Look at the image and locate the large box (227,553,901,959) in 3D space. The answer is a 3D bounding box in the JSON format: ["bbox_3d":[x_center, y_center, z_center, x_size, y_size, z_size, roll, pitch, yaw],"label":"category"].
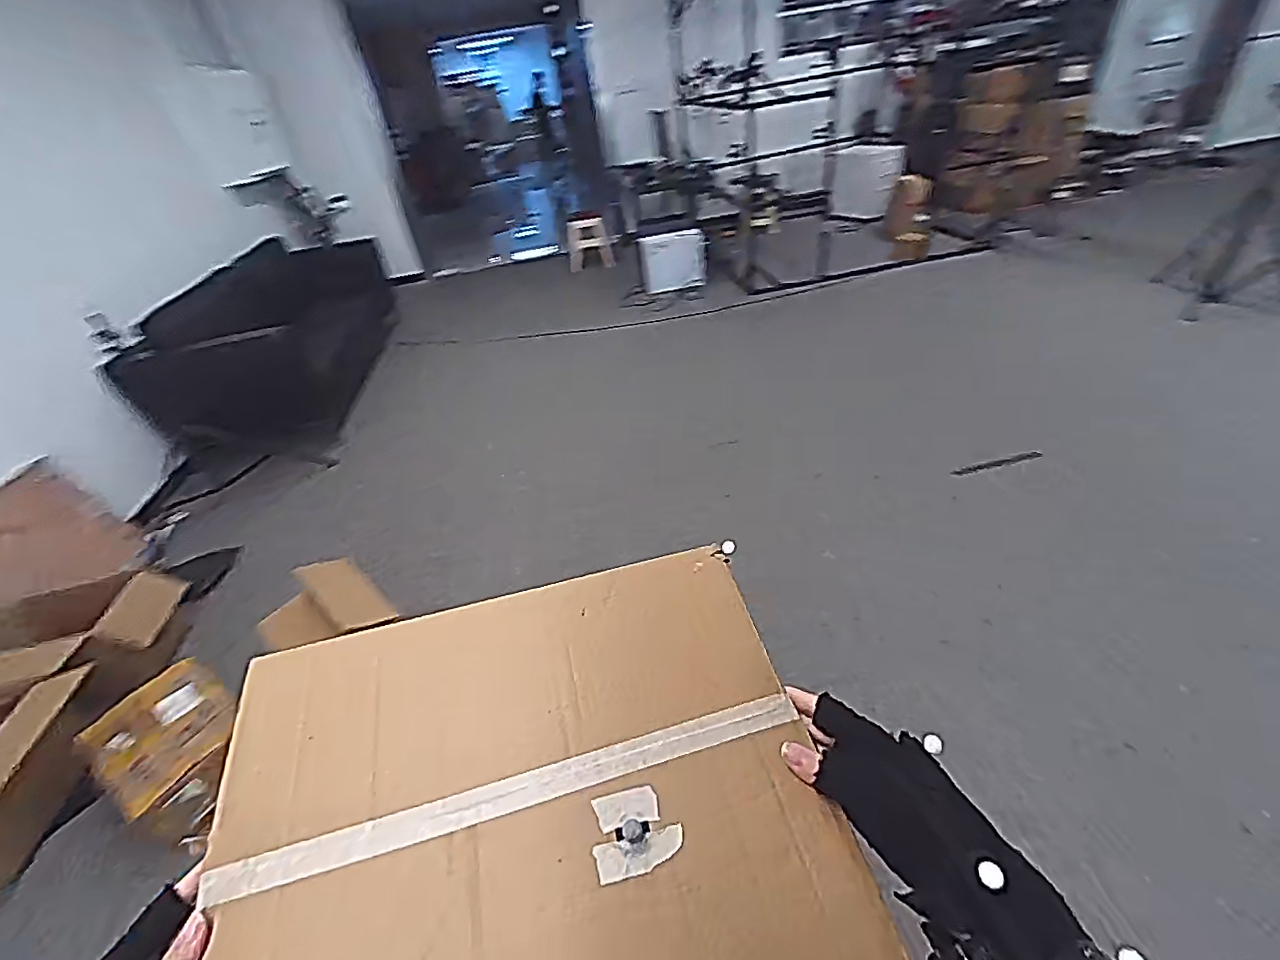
[{"bbox_3d":[-0.068,0.318,0.498,0.408,0.320,0.320,-11,50,-9],"label":"large box"}]
